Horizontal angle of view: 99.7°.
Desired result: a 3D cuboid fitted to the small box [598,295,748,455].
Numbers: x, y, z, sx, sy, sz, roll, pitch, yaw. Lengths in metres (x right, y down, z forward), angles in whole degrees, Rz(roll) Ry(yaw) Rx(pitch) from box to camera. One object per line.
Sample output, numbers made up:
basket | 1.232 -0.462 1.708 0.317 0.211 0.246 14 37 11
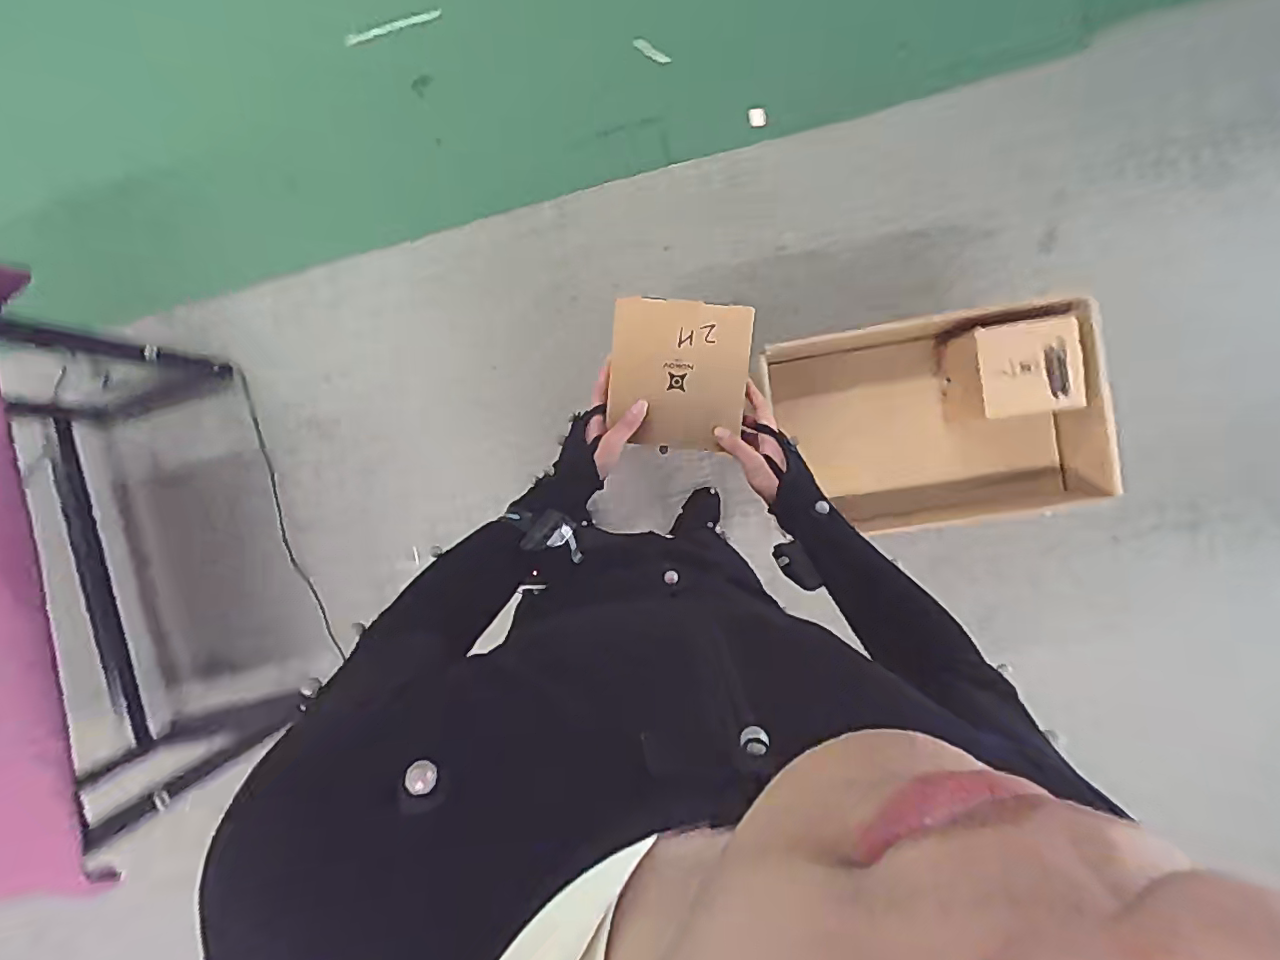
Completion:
small box | 0.039 -0.133 0.715 0.168 0.176 0.179 4 97 0
